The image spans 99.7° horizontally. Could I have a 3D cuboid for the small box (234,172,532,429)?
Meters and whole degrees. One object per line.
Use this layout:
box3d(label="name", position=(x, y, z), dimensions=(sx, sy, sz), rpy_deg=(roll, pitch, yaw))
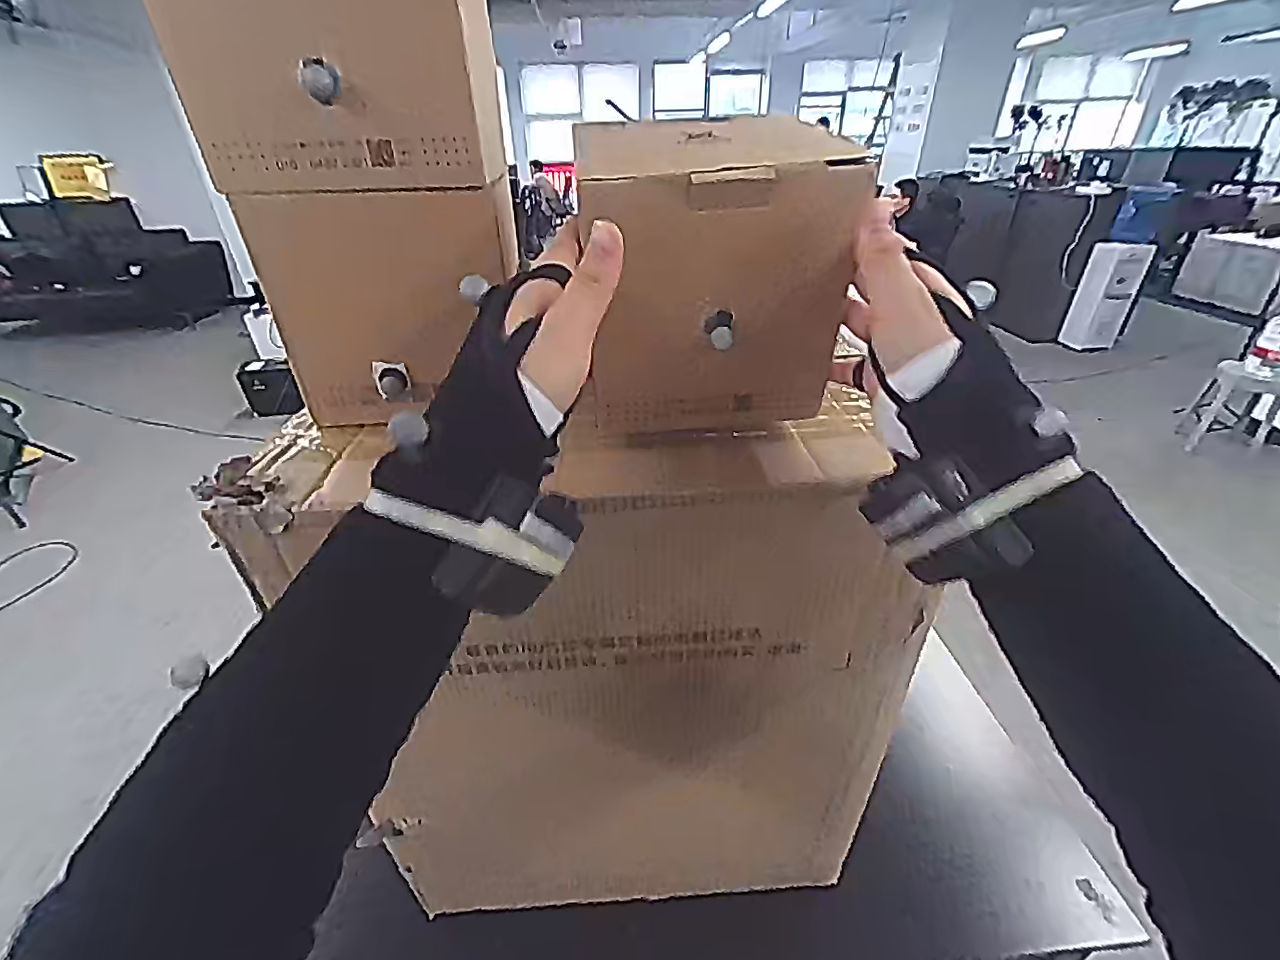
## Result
box3d(label="small box", position=(-0.186, -0.158, 0.458), dimensions=(0.168, 0.176, 0.179), rpy_deg=(-6, 34, -7))

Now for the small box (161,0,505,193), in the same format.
box3d(label="small box", position=(-0.191, -0.296, 0.366), dimensions=(0.168, 0.176, 0.179), rpy_deg=(-5, 33, -5))

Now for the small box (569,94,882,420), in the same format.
box3d(label="small box", position=(0.041, -0.155, 0.388), dimensions=(0.168, 0.176, 0.179), rpy_deg=(-5, 44, -3))
